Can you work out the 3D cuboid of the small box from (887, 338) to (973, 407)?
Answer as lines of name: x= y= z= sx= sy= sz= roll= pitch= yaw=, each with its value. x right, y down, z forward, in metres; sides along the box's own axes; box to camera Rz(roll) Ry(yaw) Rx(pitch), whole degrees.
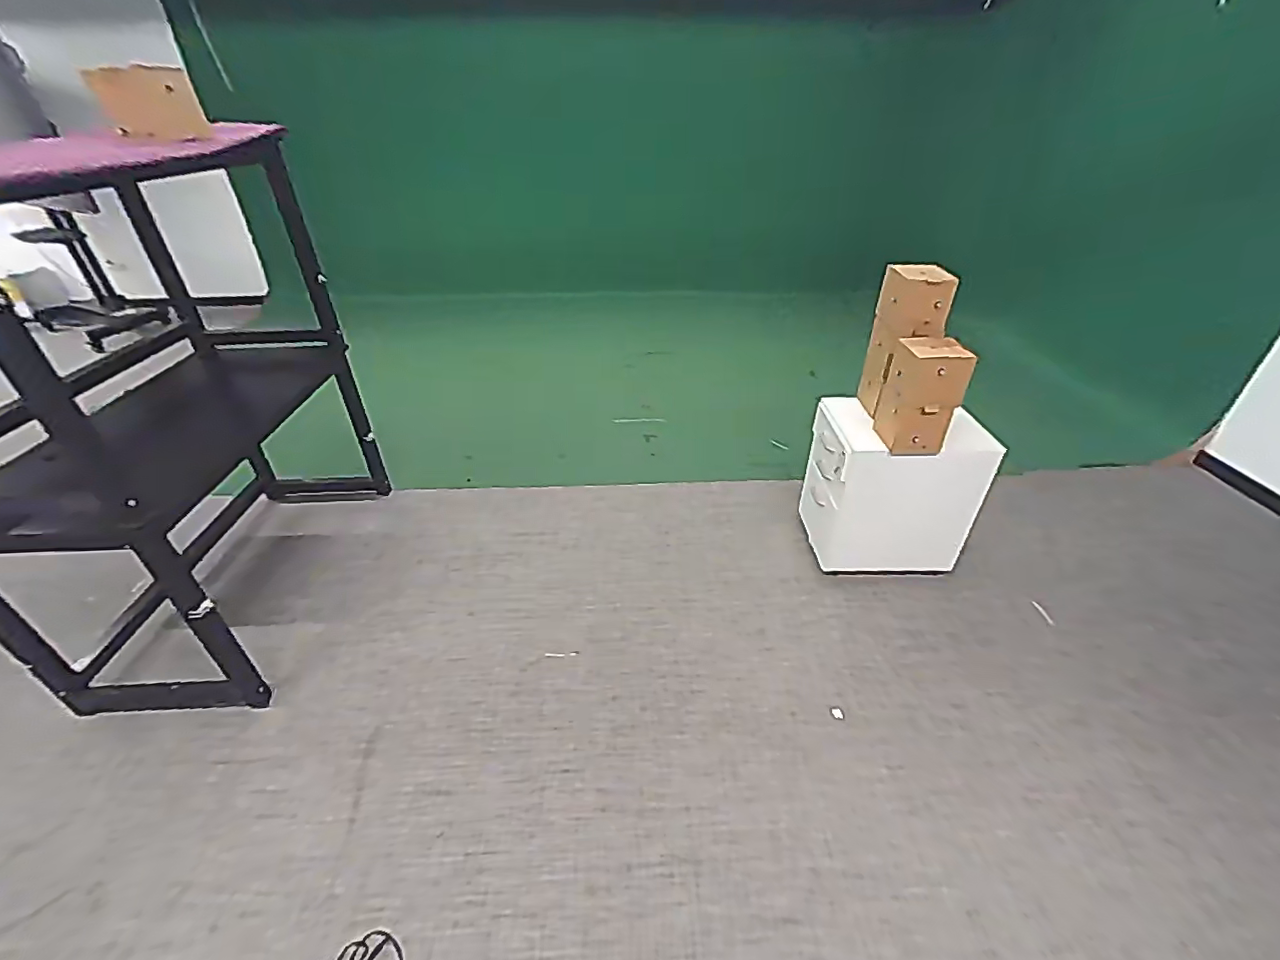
small box: x=0.898 y=-0.338 z=1.701 sx=0.179 sy=0.176 sz=0.168 roll=1 pitch=35 yaw=1

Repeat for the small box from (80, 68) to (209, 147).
small box: x=-1.361 y=-1.031 z=1.504 sx=0.168 sy=0.176 sz=0.179 roll=-3 pitch=35 yaw=1

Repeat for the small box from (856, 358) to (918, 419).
small box: x=0.916 y=-0.337 z=1.986 sx=0.168 sy=0.176 sz=0.179 roll=-1 pitch=37 yaw=0

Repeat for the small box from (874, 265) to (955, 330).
small box: x=0.904 y=-0.606 z=1.798 sx=0.168 sy=0.176 sz=0.179 roll=1 pitch=35 yaw=0
